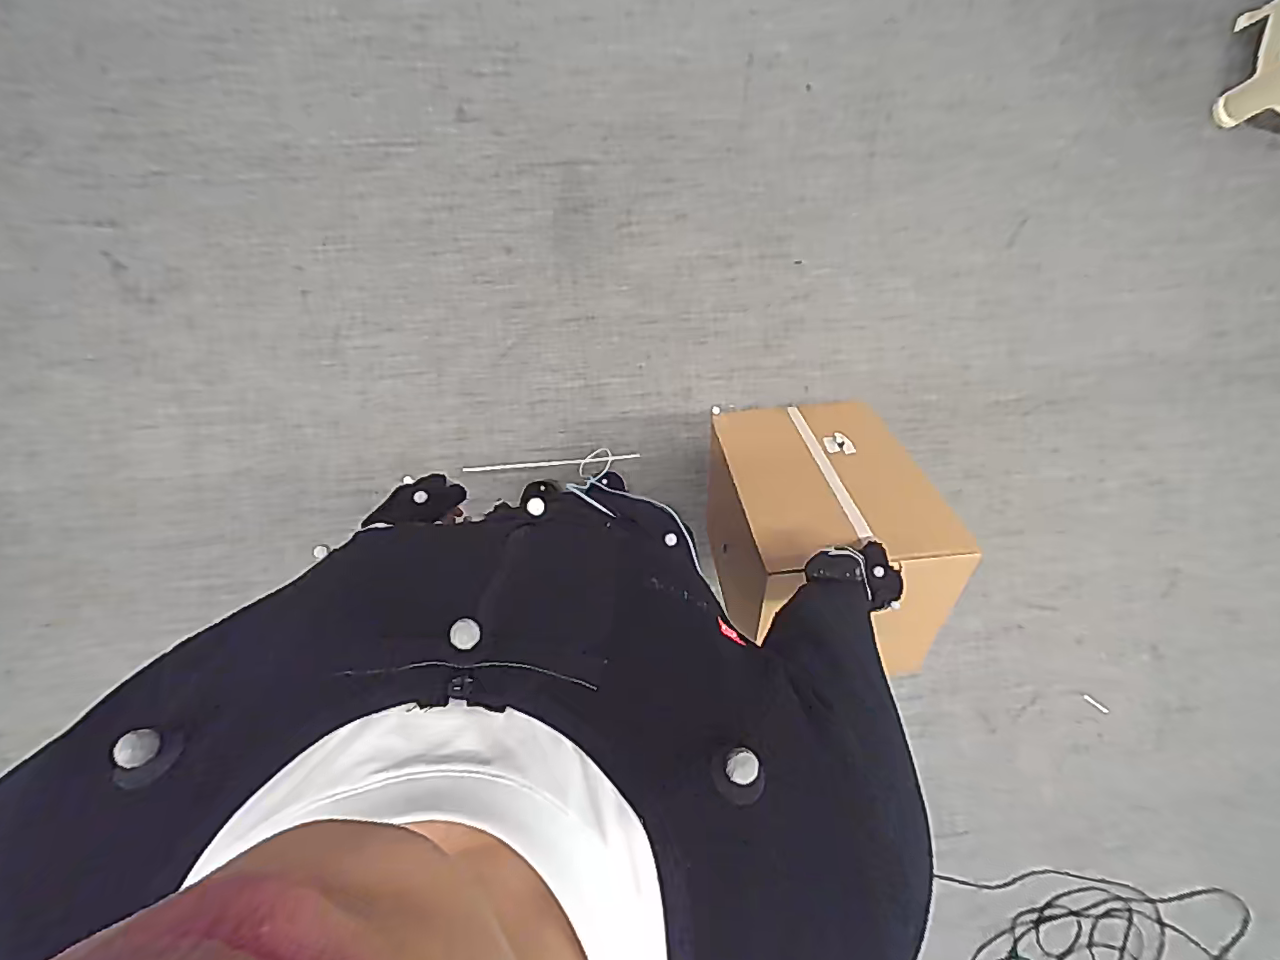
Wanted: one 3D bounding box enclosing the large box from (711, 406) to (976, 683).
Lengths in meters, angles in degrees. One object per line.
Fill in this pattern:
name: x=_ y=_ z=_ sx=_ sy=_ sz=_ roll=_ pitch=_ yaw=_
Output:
large box: x=0.325 y=0.107 z=1.015 sx=0.320 sy=0.408 sz=0.320 roll=-5 pitch=130 yaw=-3
